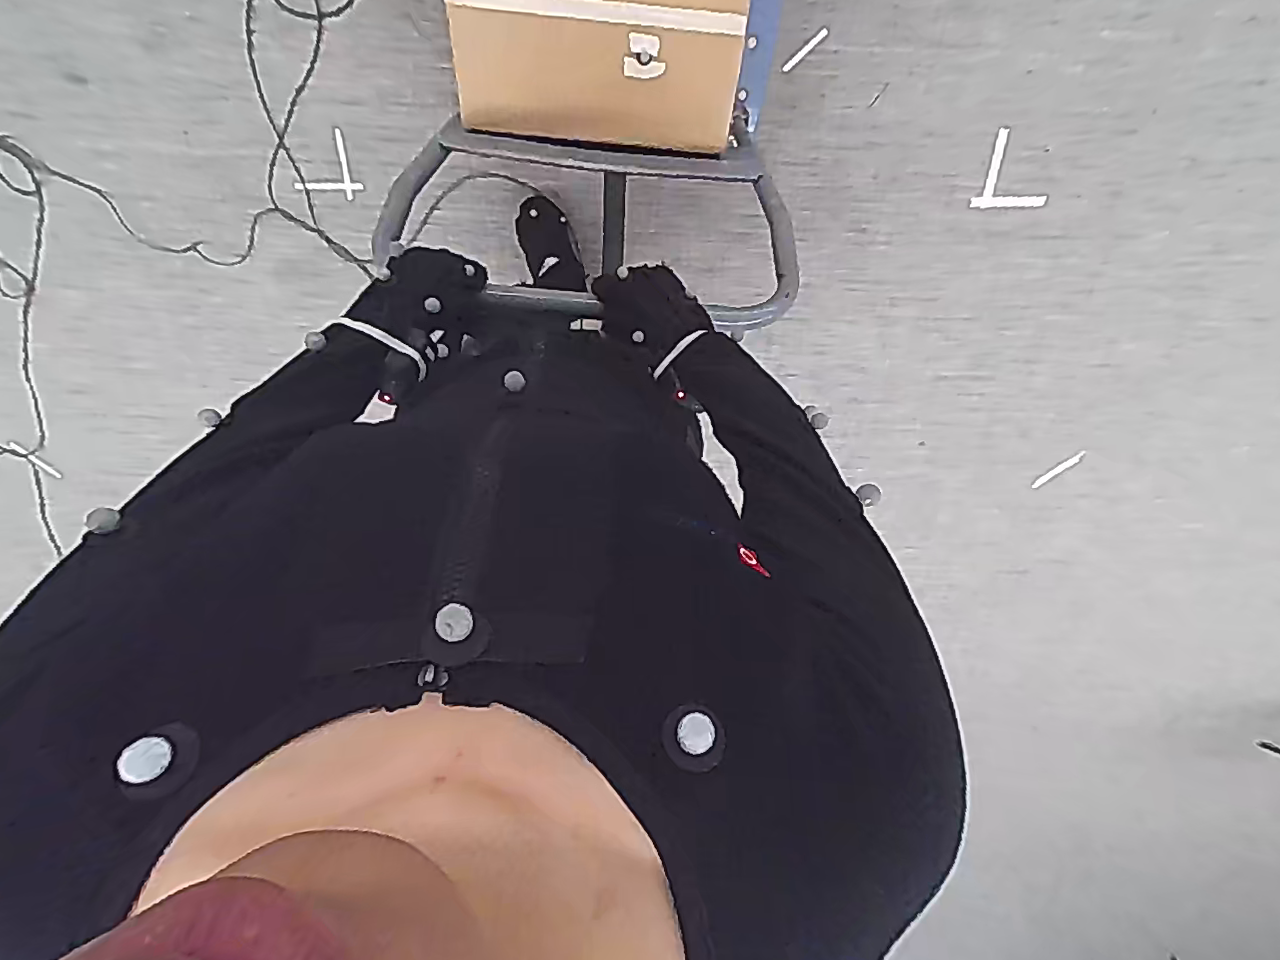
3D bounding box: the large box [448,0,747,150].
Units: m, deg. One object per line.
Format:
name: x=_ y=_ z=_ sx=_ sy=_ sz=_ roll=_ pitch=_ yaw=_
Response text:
large box: x=-0.060 y=-0.730 z=0.825 sx=0.408 sy=0.320 sz=0.320 roll=3 pitch=135 yaw=-4
